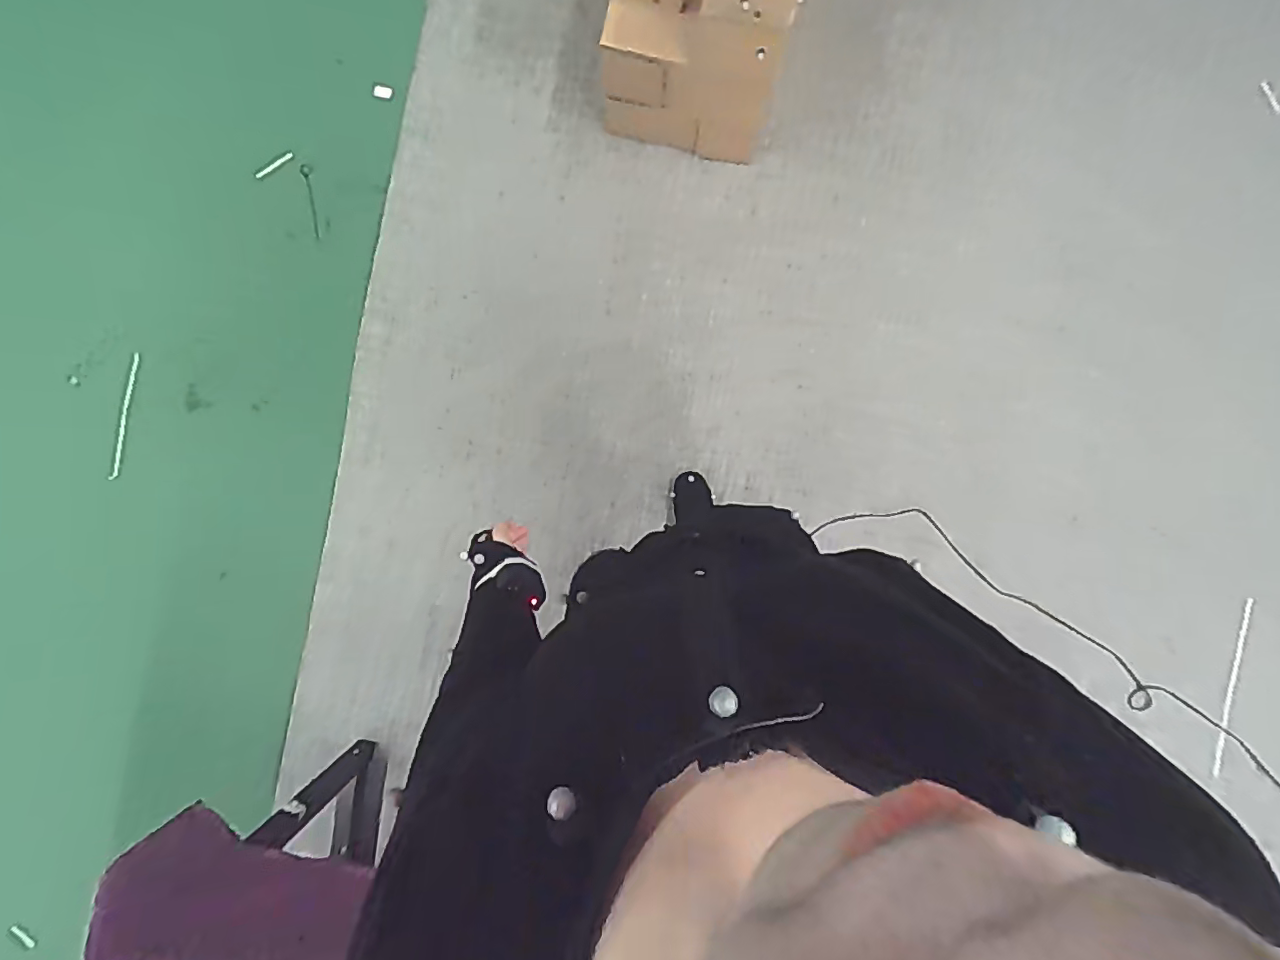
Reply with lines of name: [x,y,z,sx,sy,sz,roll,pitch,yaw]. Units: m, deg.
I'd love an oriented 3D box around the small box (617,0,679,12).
small box: [0.017,-1.127,1.106,0.168,0.176,0.179,13,89,3]

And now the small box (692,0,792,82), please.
small box: [0.210,-0.953,1.095,0.179,0.176,0.168,11,89,2]
